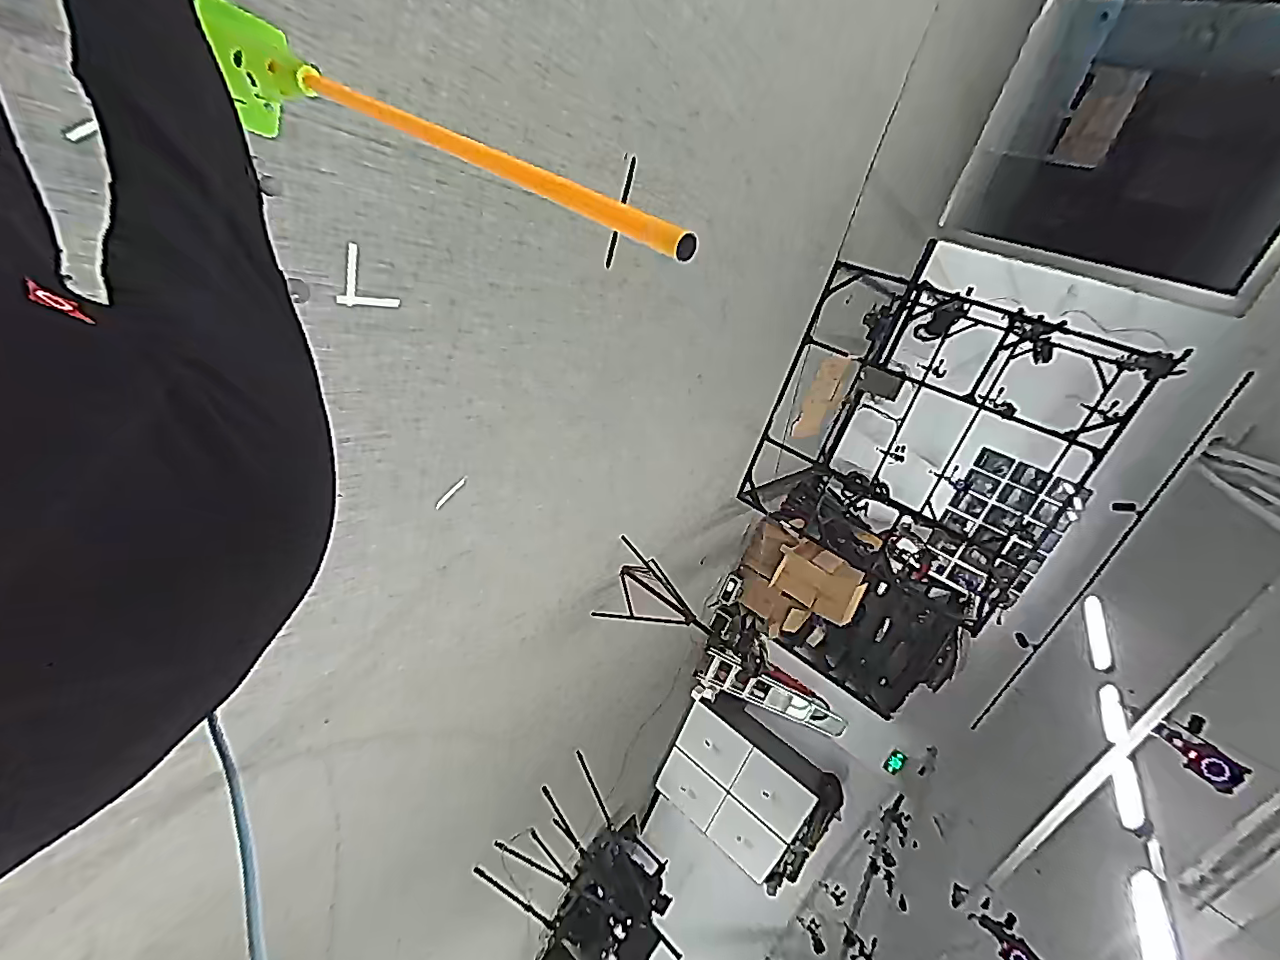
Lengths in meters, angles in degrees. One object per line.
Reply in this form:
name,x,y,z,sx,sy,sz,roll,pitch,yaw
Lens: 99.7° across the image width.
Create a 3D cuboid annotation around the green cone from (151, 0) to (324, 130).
green cone,-0.683,-0.740,0.969,0.202,0.368,0.200,-11,127,-56
